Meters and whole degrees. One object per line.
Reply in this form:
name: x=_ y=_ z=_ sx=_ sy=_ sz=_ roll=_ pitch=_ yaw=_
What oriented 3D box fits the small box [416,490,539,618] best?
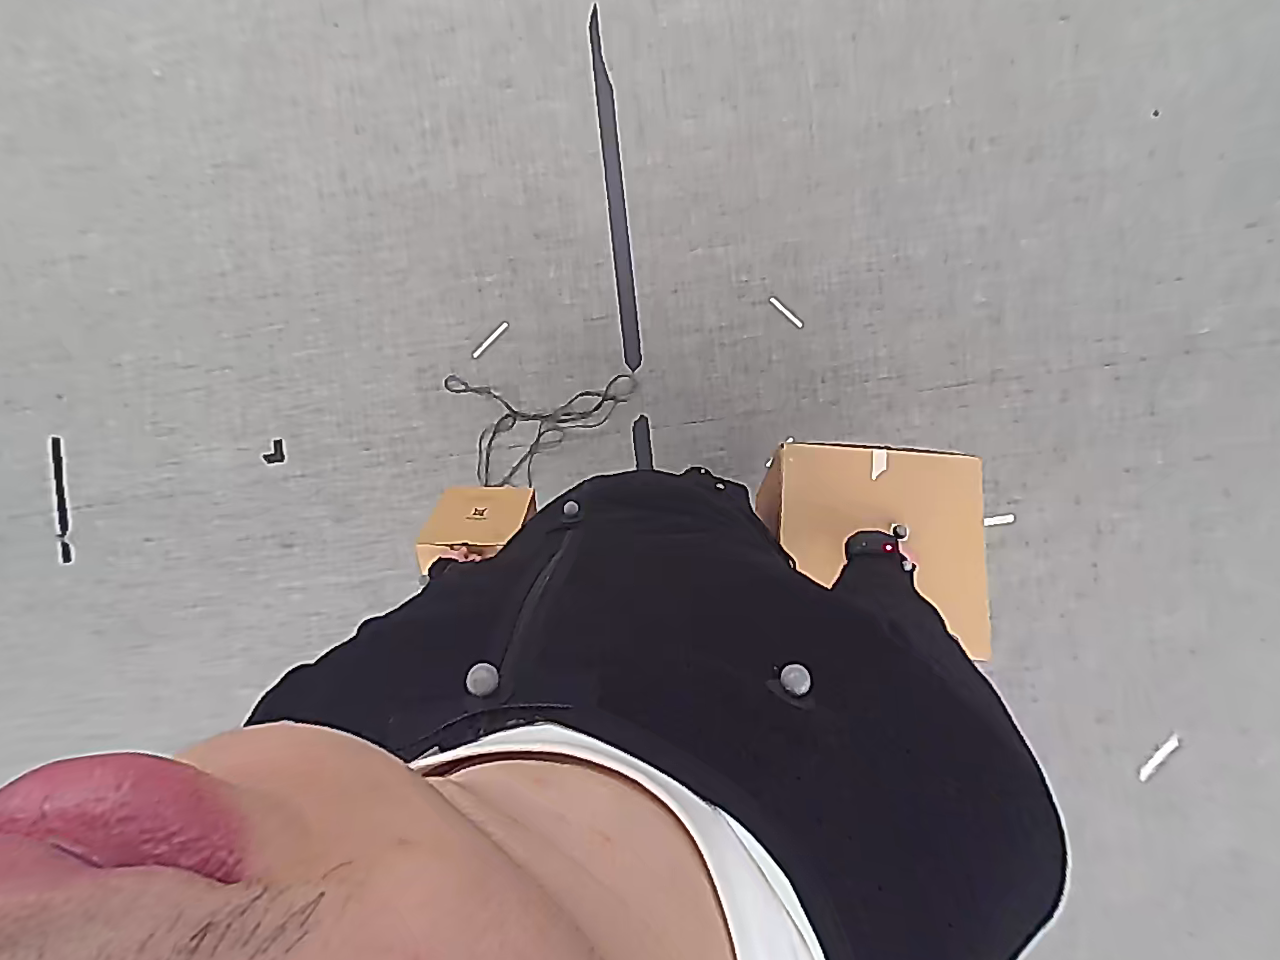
small box: x=-0.283 y=0.135 z=0.990 sx=0.168 sy=0.179 sz=0.176 roll=1 pitch=121 yaw=0
